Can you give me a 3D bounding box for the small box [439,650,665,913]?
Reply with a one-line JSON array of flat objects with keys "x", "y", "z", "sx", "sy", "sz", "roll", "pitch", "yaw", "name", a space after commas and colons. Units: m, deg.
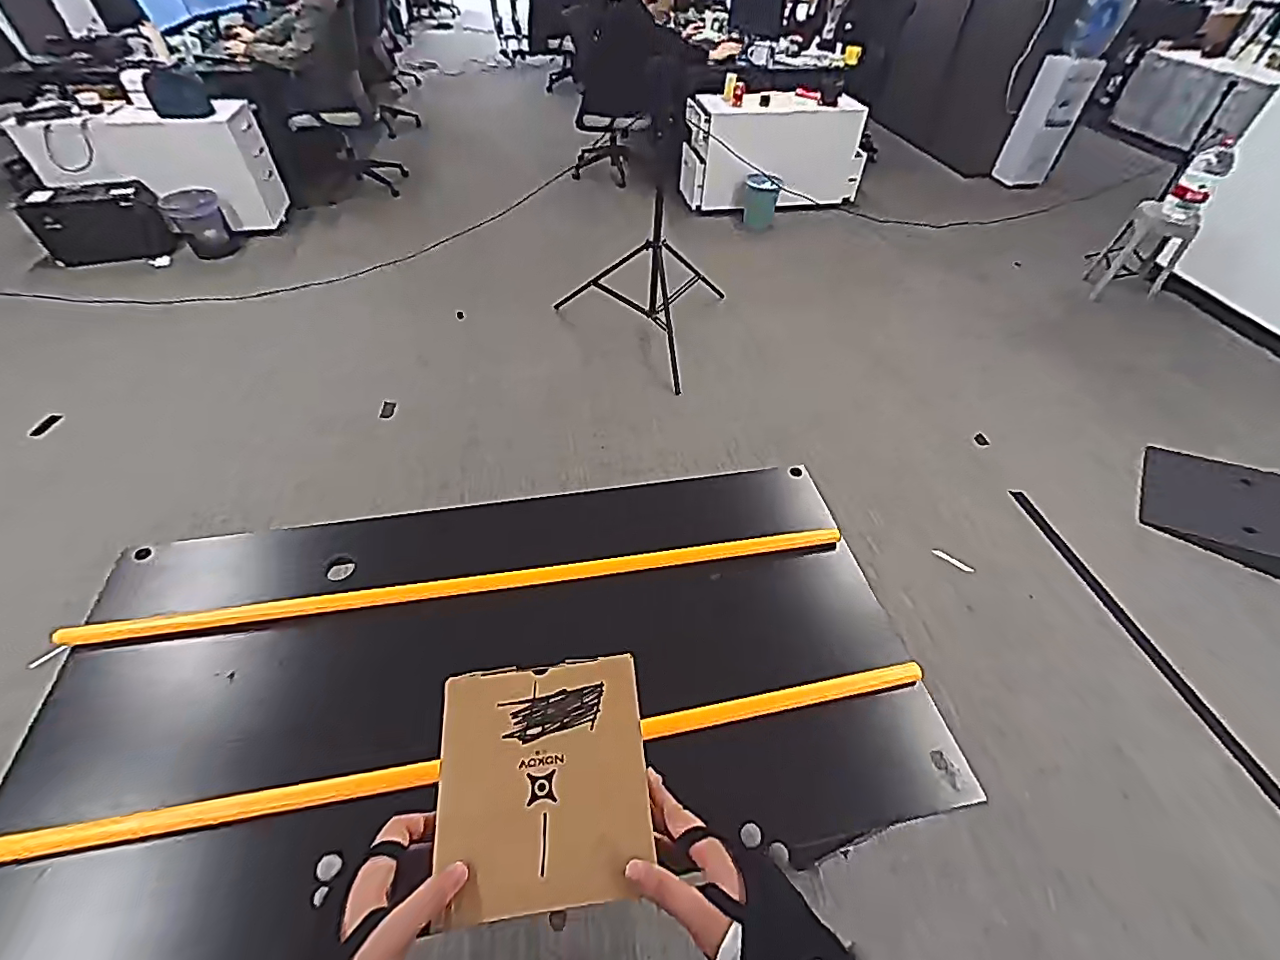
[{"x": -0.073, "y": 0.279, "z": 0.504, "sx": 0.168, "sy": 0.176, "sz": 0.179, "roll": -6, "pitch": 55, "yaw": -4, "name": "small box"}]
